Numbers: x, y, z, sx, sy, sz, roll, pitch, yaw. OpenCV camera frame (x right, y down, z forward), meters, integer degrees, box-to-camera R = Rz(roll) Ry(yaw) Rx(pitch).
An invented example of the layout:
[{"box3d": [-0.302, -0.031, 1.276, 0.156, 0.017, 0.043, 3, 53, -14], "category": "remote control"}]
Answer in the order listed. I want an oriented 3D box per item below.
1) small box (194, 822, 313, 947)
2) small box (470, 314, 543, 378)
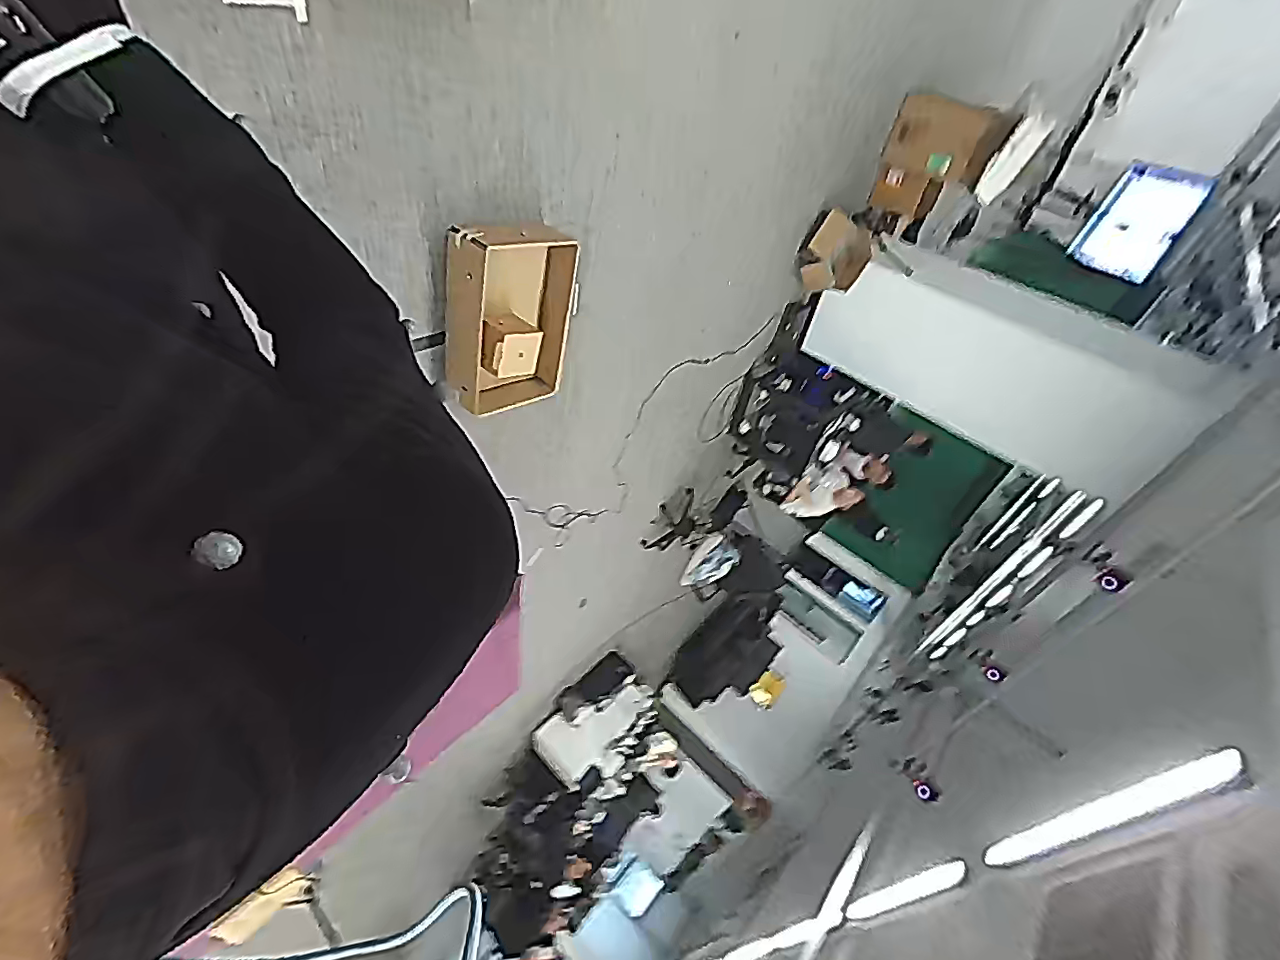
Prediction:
[{"box3d": [-0.968, 1.010, 1.360, 0.179, 0.176, 0.168, -32, 148, -39], "category": "small box"}, {"box3d": [-0.482, -0.483, 1.934, 0.179, 0.176, 0.168, -22, 141, -49], "category": "small box"}]
